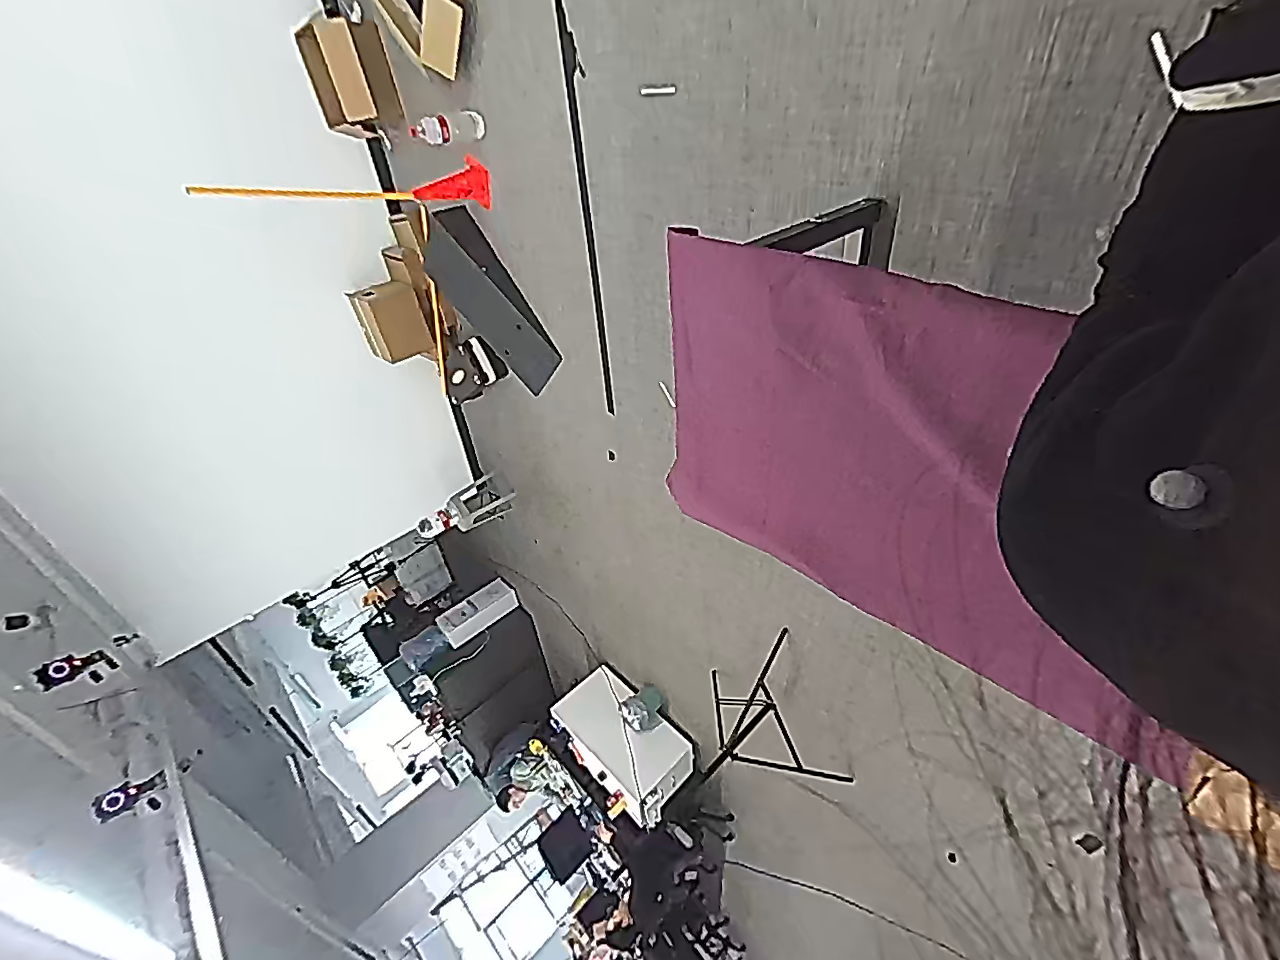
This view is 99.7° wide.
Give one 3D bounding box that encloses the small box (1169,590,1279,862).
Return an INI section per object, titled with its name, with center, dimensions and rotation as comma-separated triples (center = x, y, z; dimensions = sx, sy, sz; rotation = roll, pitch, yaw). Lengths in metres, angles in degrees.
[small box]
center = 0.563, 0.201, 0.409
dimensions = 0.179, 0.176, 0.168
rotation = 25, 138, 39
